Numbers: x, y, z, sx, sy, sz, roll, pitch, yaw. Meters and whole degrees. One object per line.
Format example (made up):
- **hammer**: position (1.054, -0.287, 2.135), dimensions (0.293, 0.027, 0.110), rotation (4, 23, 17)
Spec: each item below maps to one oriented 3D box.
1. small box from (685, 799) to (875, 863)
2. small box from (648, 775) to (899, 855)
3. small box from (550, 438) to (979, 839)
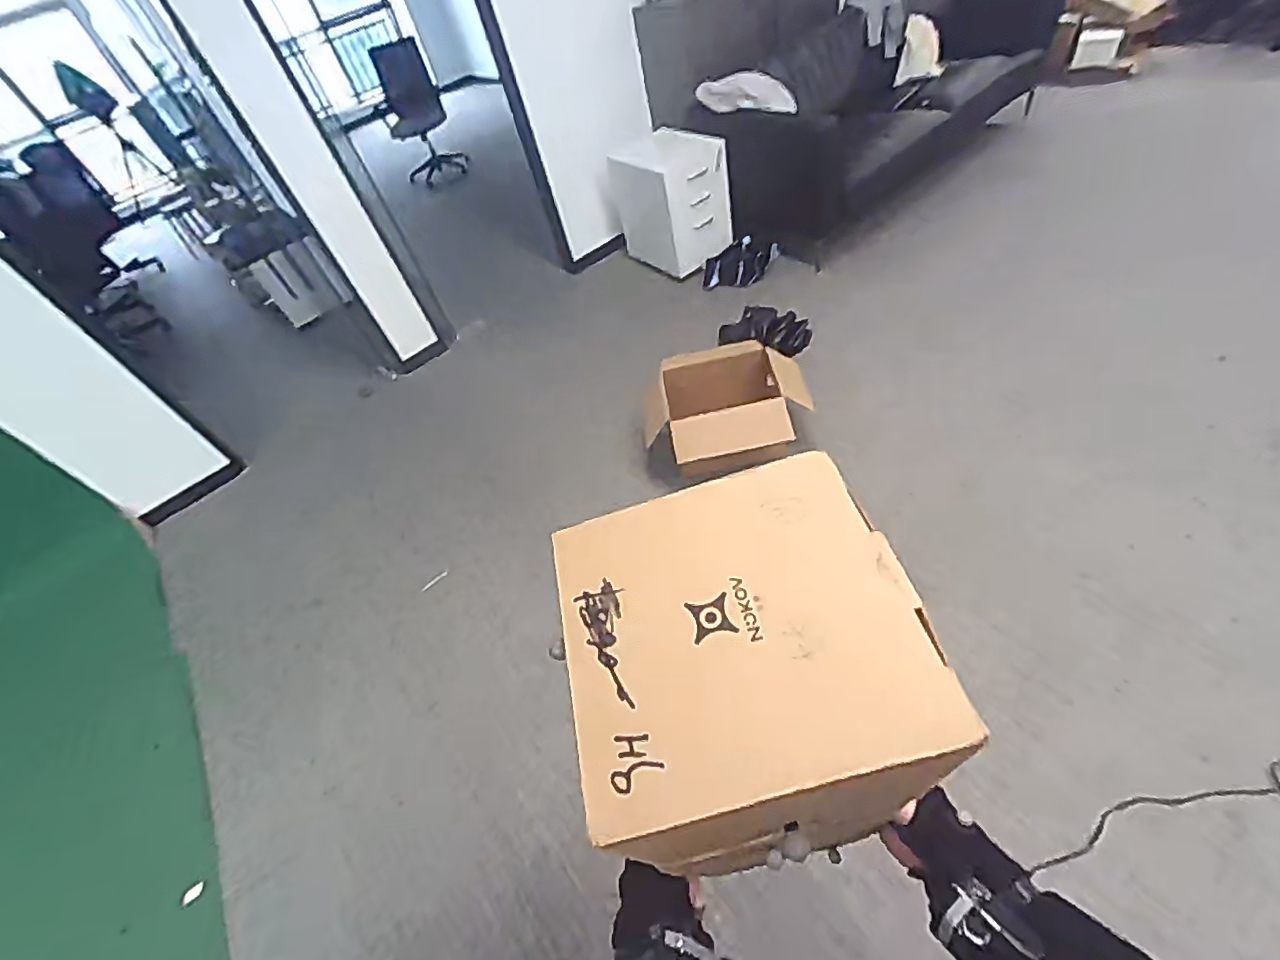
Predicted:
- **small box**: position (0.127, 0.300, 0.589), dimensions (0.179, 0.176, 0.168), rotation (-17, 51, 4)
- **small box**: position (0.090, 0.203, 0.463), dimensions (0.179, 0.176, 0.168), rotation (-16, 52, 2)
- **small box**: position (0.058, 0.106, 0.335), dimensions (0.179, 0.176, 0.168), rotation (-16, 51, 2)
